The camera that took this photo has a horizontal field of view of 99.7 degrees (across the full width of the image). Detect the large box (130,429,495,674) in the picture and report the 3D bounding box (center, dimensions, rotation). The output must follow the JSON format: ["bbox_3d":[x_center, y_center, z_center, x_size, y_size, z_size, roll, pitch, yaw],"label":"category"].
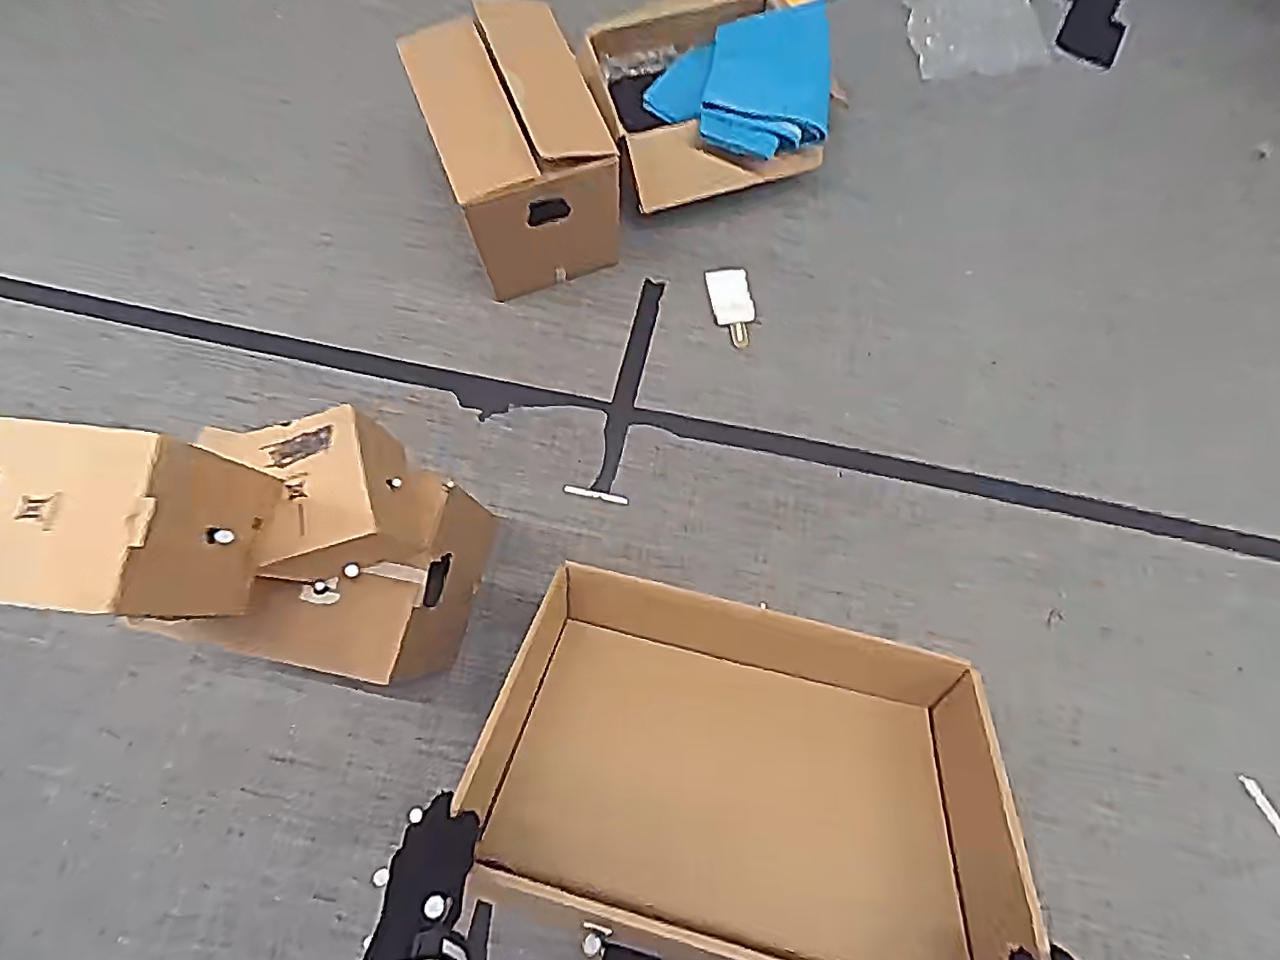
[{"bbox_3d":[-0.516,0.134,0.950,0.408,0.320,0.320,11,77,1],"label":"large box"}]

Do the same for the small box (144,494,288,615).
[{"bbox_3d":[-0.610,0.077,0.713,0.168,0.176,0.179,11,75,-1],"label":"small box"}]

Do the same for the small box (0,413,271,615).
[{"bbox_3d":[-0.527,0.043,0.553,0.179,0.176,0.168,6,76,1],"label":"small box"}]
